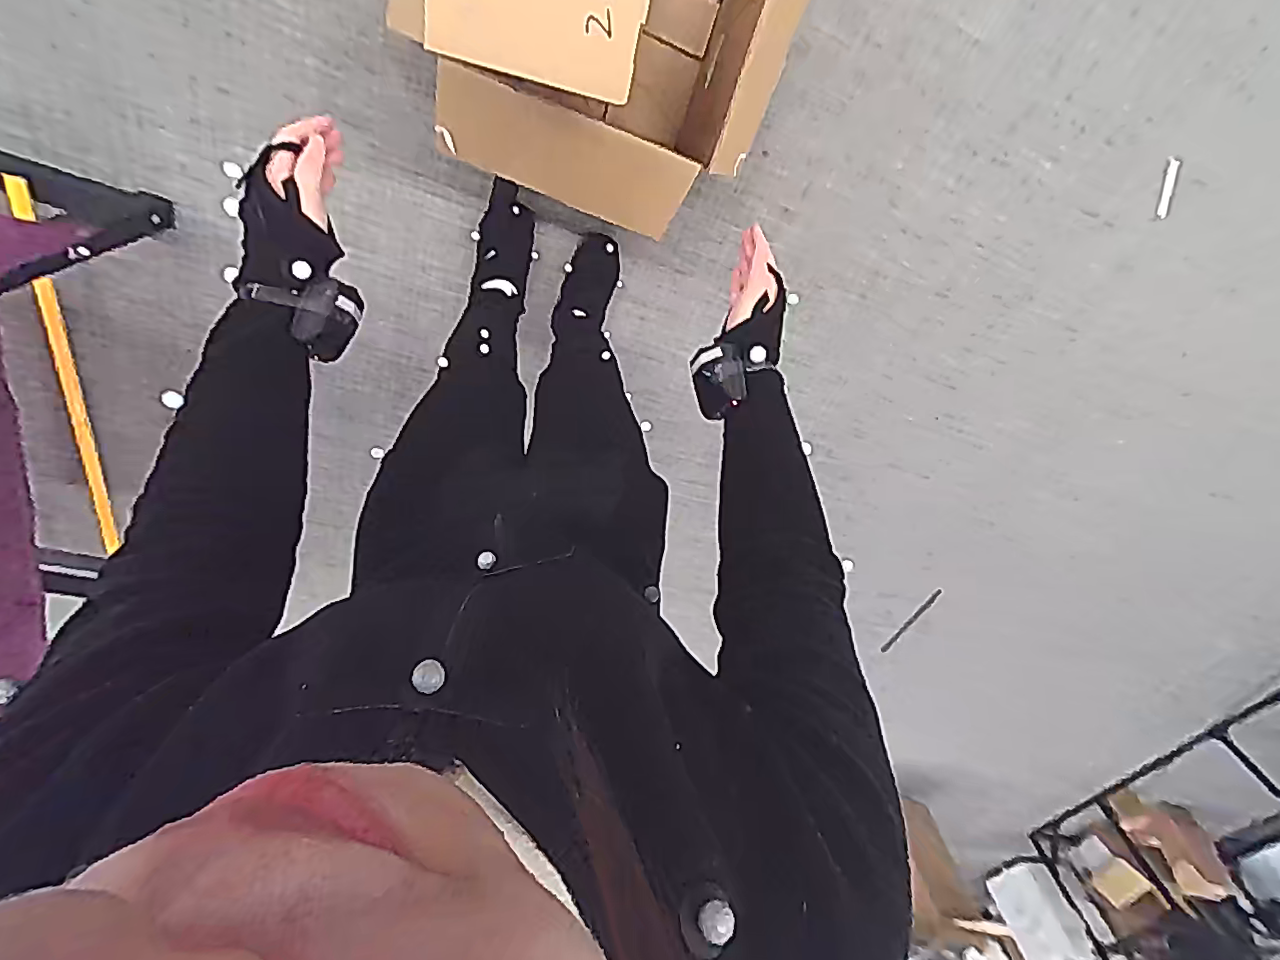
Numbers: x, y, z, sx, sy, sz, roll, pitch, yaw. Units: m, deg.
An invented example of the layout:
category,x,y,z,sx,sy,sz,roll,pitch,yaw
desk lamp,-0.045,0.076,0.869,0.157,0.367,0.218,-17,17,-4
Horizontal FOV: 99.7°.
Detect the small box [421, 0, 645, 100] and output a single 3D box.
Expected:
category,x,y,z,sx,sy,sz,roll,pitch,yaw
small box,-0.087,-0.464,0.476,0.179,0.176,0.168,6,130,-16
